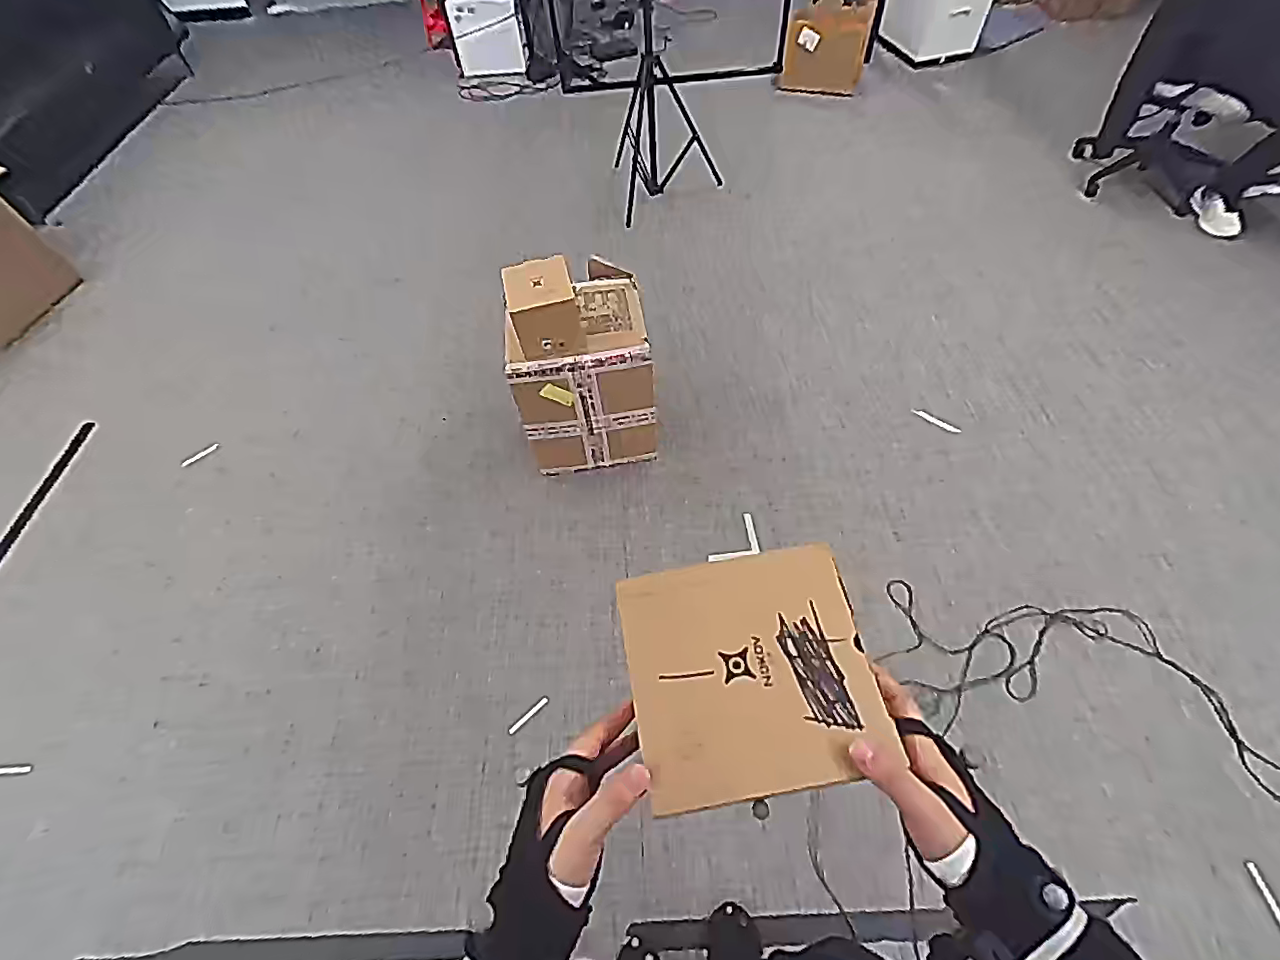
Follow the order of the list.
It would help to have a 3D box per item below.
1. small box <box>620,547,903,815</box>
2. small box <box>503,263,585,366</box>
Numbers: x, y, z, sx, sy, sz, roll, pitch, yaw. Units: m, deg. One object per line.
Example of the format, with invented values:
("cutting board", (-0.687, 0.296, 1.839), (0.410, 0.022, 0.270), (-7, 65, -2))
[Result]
("small box", (0.085, 0.176, 0.466), (0.179, 0.176, 0.168), (-11, 60, -1))
("small box", (-0.249, -0.432, 1.422), (0.168, 0.176, 0.179), (-15, 60, -4))
